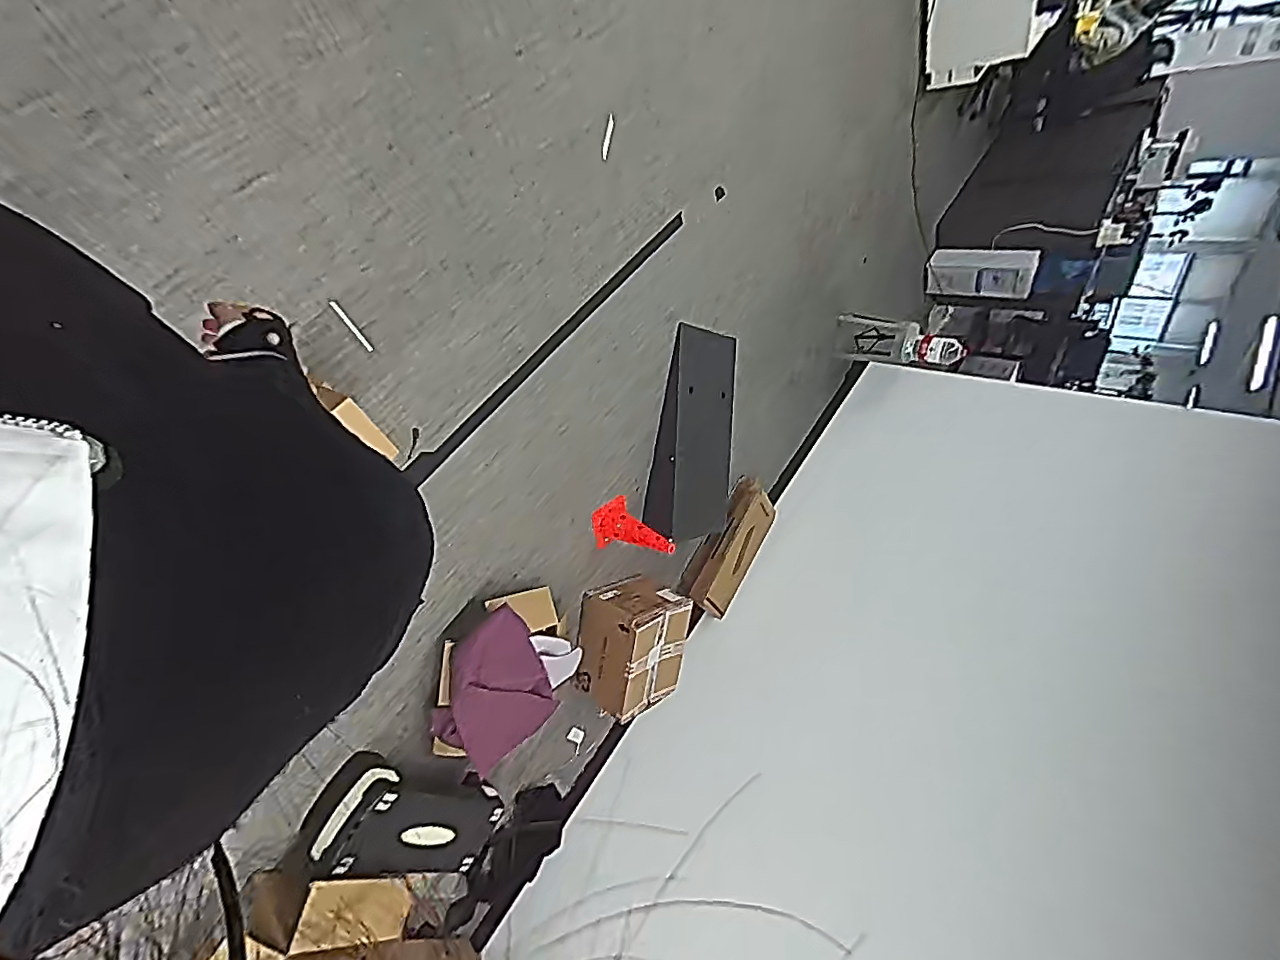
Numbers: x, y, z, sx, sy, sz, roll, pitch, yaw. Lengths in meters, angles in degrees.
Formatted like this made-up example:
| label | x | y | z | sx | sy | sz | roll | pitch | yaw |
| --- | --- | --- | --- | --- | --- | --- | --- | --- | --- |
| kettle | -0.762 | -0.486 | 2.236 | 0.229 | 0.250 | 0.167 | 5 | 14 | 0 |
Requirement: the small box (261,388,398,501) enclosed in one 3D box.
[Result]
| label | x | y | z | sx | sy | sz | roll | pitch | yaw |
| --- | --- | --- | --- | --- | --- | --- | --- | --- | --- |
| small box | -0.693 | -0.085 | 1.211 | 0.168 | 0.176 | 0.179 | -52 | 138 | -23 |
